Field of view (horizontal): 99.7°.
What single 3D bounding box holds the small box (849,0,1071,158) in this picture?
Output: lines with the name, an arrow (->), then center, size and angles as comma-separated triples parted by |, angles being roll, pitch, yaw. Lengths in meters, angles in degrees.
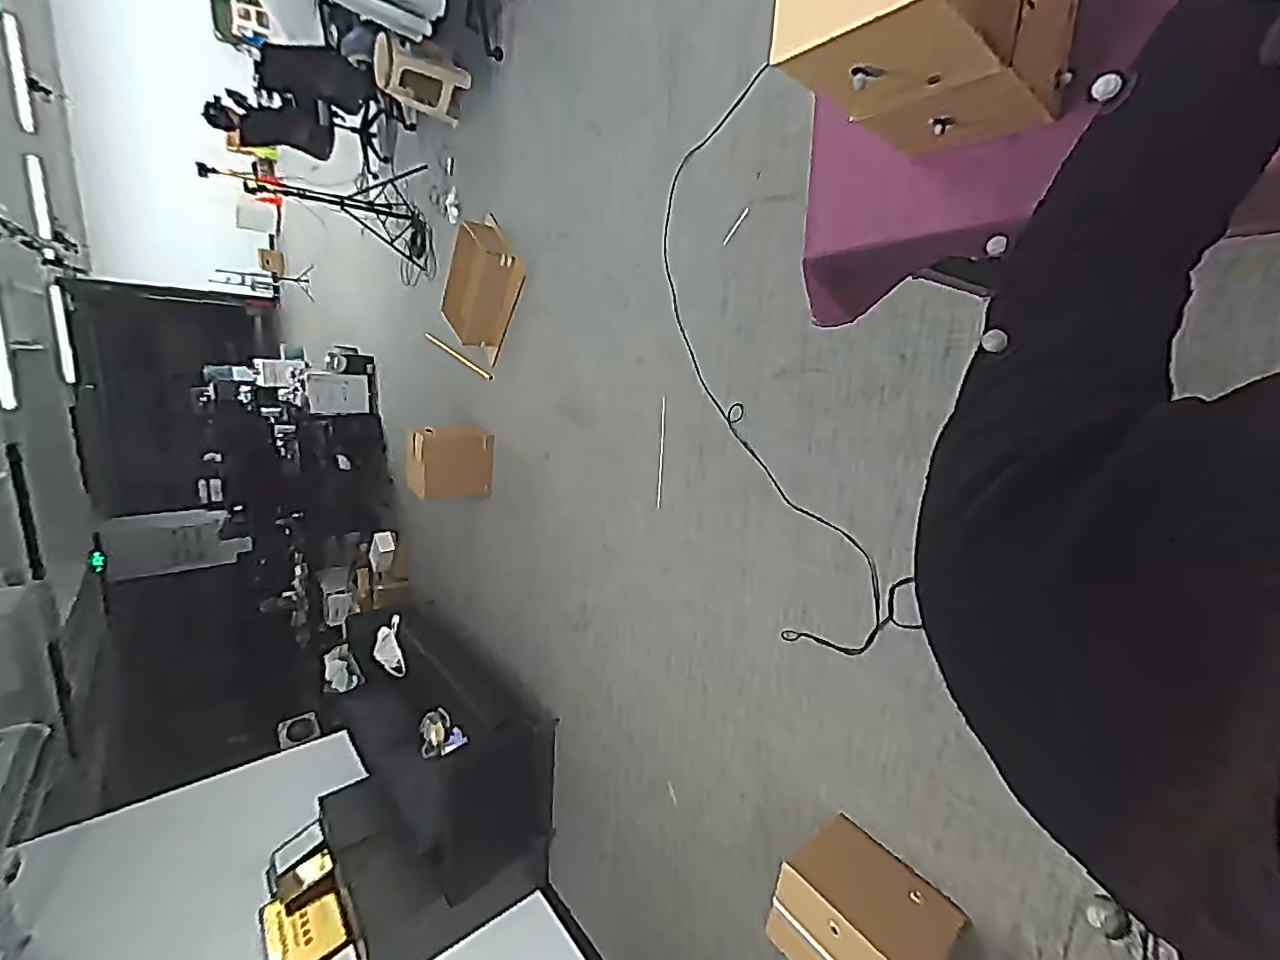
small box -> 0.378, -0.510, 0.638 | 0.179, 0.176, 0.168 | 15, 107, 48

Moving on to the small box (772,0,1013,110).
small box -> 0.255, -0.498, 0.532 | 0.168, 0.176, 0.179 | 17, 107, 48
